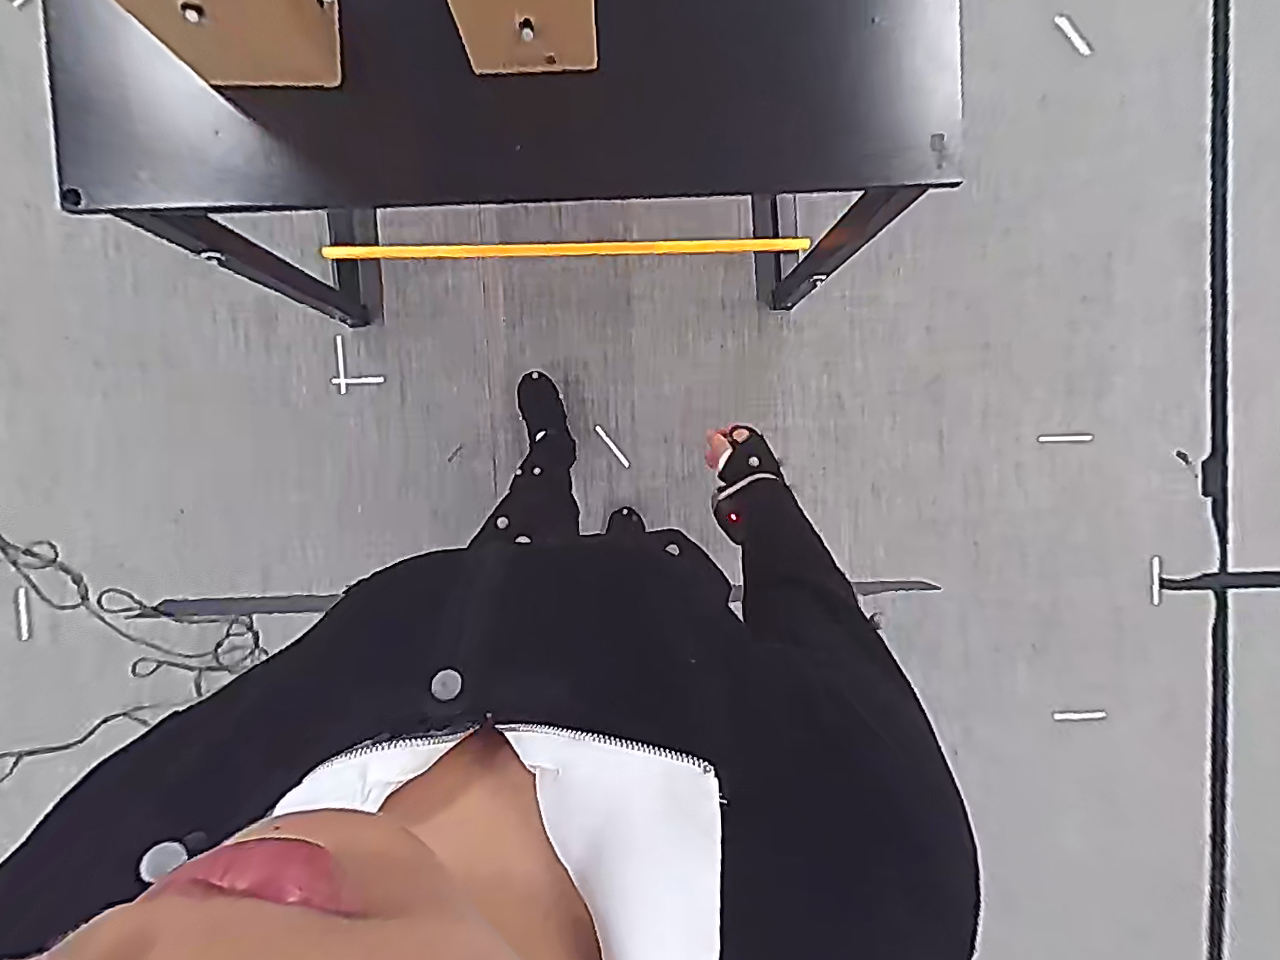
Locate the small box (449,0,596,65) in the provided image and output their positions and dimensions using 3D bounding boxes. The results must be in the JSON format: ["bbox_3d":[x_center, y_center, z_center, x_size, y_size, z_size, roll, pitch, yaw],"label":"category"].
[{"bbox_3d":[-0.142,-0.631,0.641,0.168,0.176,0.179,-4,93,-2],"label":"small box"}]

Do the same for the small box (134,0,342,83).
[{"bbox_3d":[-0.478,-0.600,0.628,0.179,0.176,0.168,-1,93,-3],"label":"small box"}]
